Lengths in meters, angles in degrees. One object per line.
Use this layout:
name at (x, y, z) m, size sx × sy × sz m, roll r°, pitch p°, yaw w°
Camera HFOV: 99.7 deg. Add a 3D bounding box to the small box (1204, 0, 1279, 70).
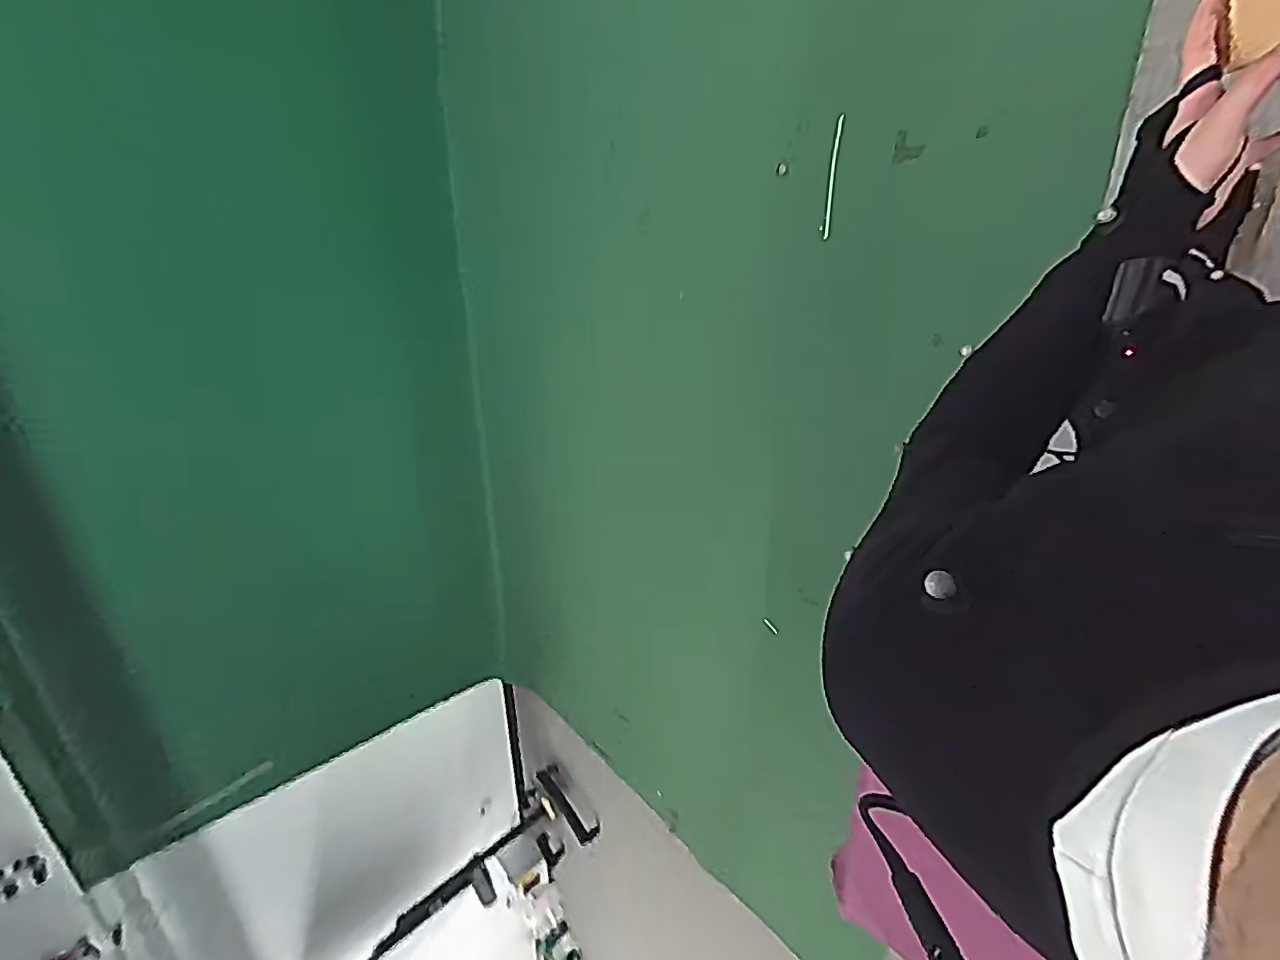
small box at (0.534, -0.431, 0.385) m, size 0.168 × 0.176 × 0.179 m, roll 5°, pitch 119°, yaw 48°
